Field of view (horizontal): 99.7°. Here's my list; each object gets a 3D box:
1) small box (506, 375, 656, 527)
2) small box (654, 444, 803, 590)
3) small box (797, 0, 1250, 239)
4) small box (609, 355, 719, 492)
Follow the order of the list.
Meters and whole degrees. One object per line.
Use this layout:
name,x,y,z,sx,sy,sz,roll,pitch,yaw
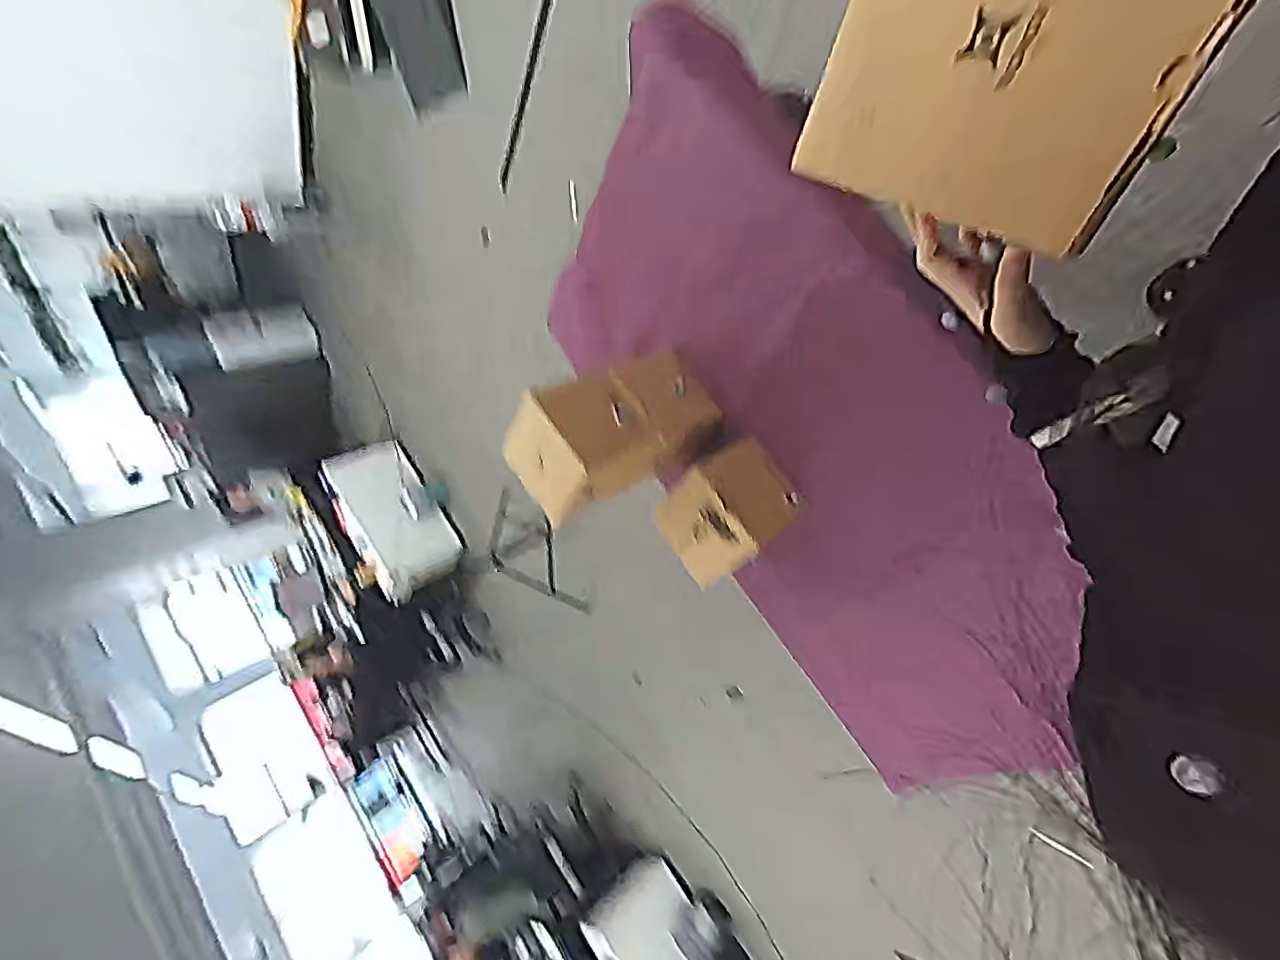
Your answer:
small box,-0.100,-0.053,0.931,0.168,0.176,0.179,51,138,14
small box,0.162,0.061,0.963,0.168,0.176,0.179,53,140,13
small box,0.235,-0.259,0.336,0.179,0.176,0.168,34,127,23
small box,0.018,-0.109,1.028,0.168,0.176,0.179,52,139,12
